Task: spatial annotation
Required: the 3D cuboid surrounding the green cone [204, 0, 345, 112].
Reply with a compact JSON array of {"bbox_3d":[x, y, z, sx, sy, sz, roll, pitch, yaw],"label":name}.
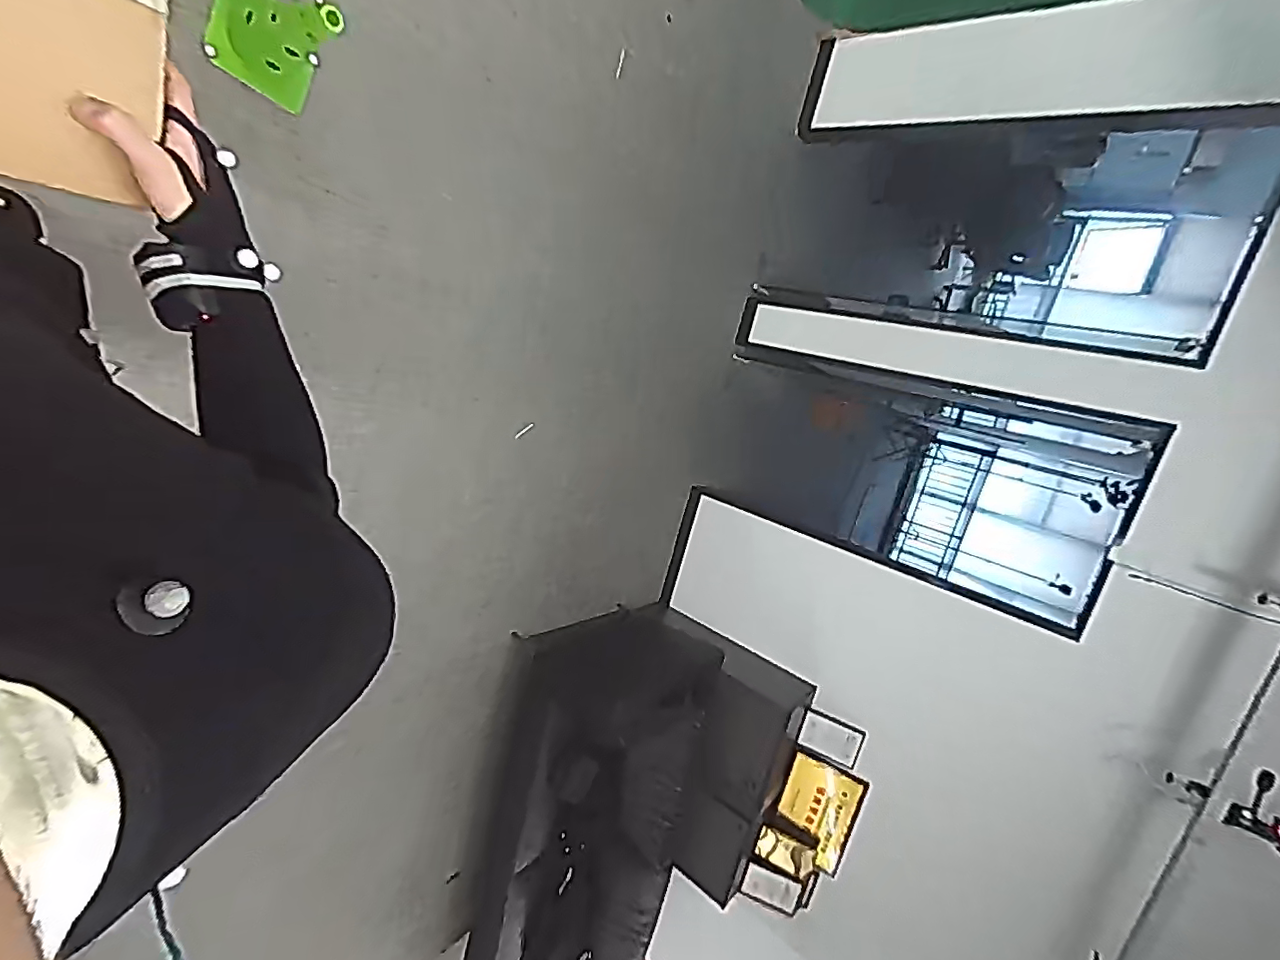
[{"bbox_3d":[-0.720,-0.938,1.132,0.200,0.368,0.202,11,98,-56],"label":"green cone"}]
